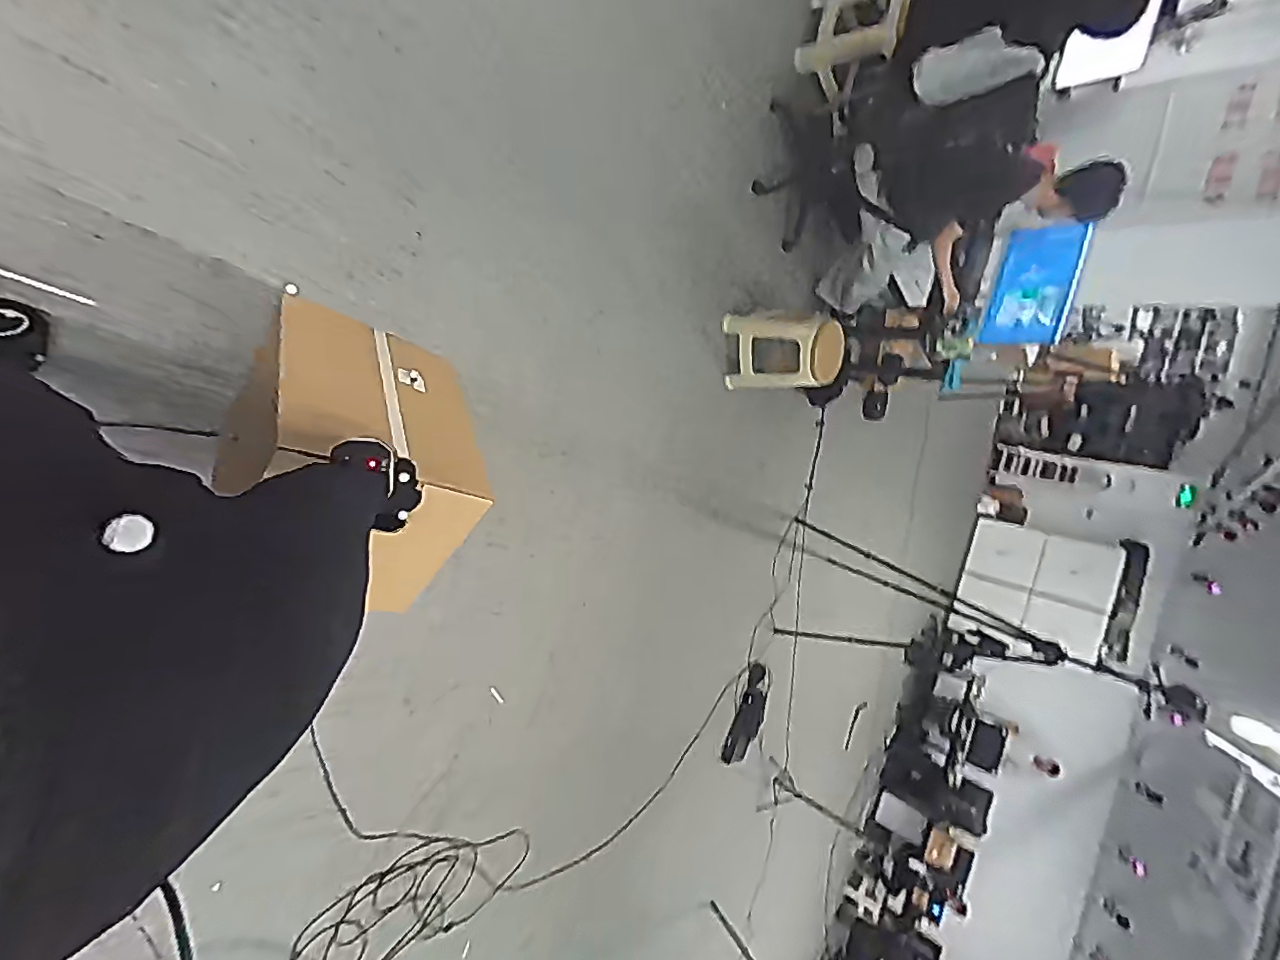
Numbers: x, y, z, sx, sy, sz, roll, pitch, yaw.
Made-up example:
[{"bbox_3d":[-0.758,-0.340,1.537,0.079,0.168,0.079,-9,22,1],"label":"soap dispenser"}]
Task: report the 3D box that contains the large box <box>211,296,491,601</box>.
[{"bbox_3d":[-0.517,-0.040,0.956,0.320,0.408,0.320,20,120,-44],"label":"large box"}]
